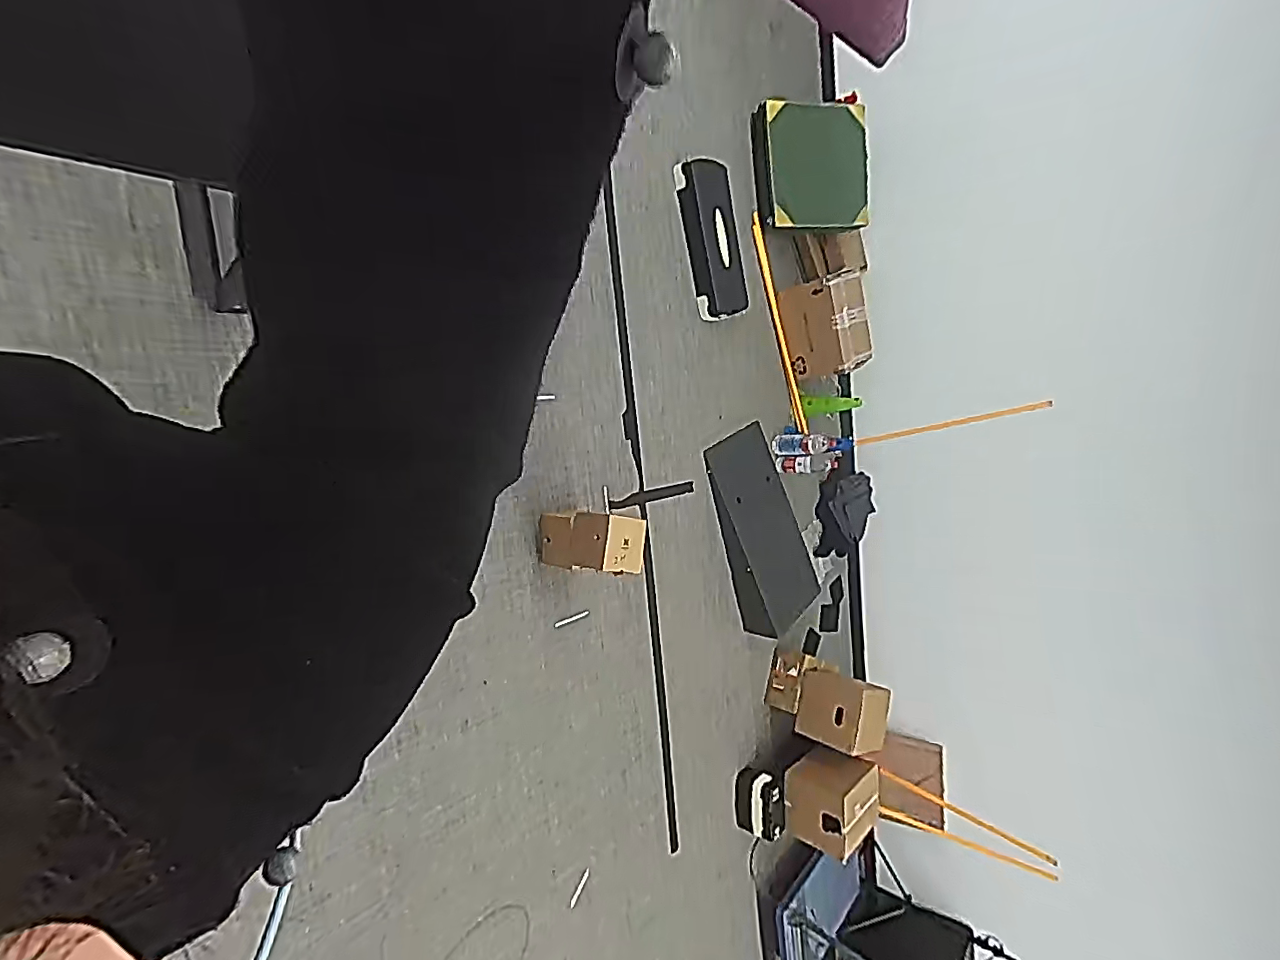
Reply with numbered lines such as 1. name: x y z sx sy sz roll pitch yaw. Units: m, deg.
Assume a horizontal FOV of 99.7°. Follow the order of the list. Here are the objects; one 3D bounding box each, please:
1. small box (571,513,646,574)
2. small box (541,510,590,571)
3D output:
1. small box: -0.104 0.201 1.738 0.168 0.176 0.179 14 81 -44
2. small box: -0.225 0.201 1.852 0.168 0.176 0.179 -4 95 -46
